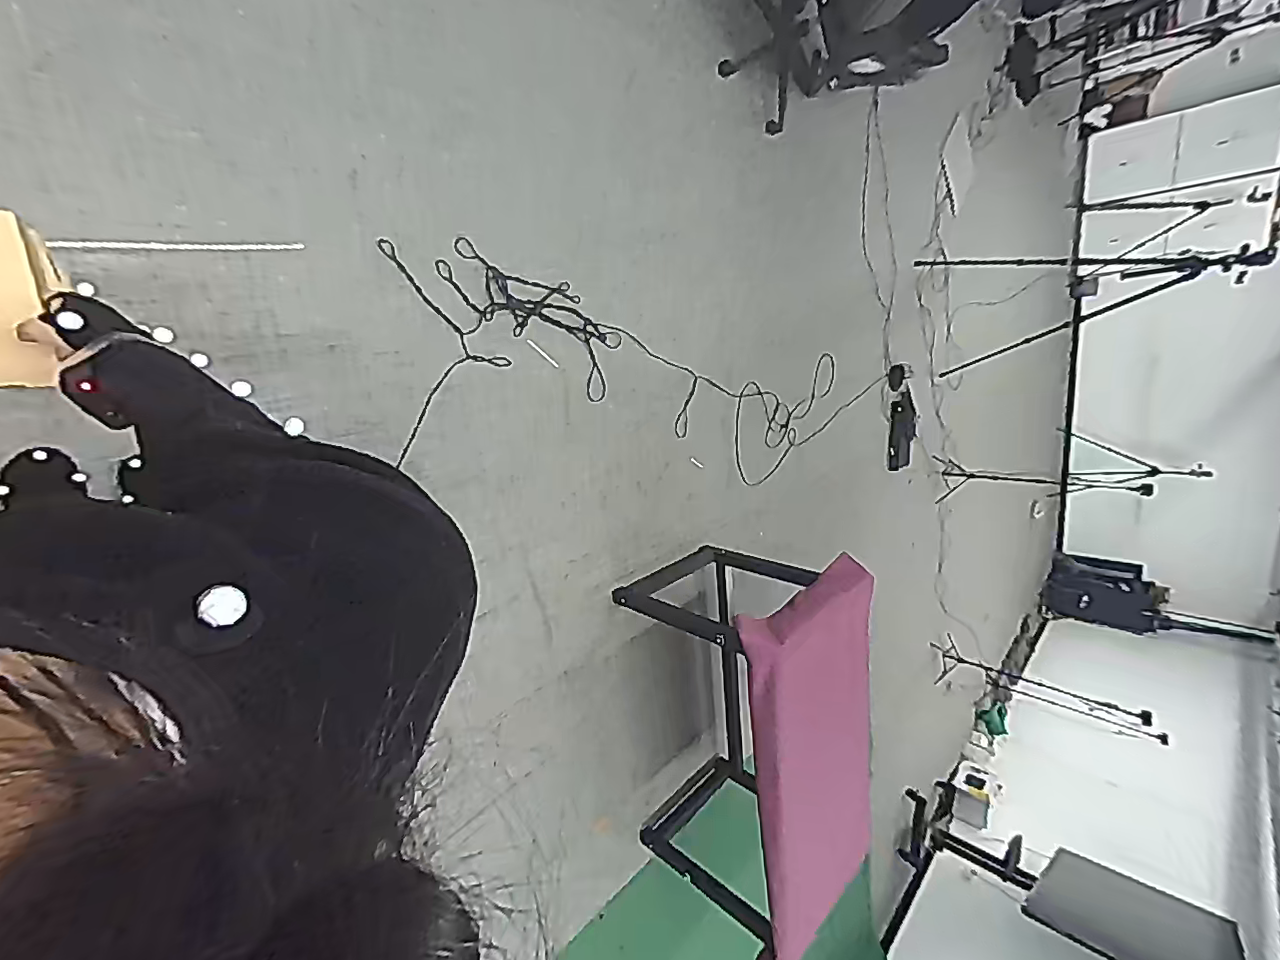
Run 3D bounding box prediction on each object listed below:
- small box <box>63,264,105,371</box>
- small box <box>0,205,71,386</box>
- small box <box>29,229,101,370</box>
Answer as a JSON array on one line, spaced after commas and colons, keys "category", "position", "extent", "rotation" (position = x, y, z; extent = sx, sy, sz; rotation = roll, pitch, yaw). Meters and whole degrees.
[{"category": "small box", "position": [-1.060, -0.267, 0.924], "extent": [0.179, 0.176, 0.168], "rotation": [-21, 110, -40]}, {"category": "small box", "position": [-0.731, -0.186, 0.561], "extent": [0.168, 0.176, 0.179], "rotation": [-15, 111, -41]}, {"category": "small box", "position": [-0.838, -0.217, 0.688], "extent": [0.179, 0.176, 0.168], "rotation": [-23, 112, -40]}]
